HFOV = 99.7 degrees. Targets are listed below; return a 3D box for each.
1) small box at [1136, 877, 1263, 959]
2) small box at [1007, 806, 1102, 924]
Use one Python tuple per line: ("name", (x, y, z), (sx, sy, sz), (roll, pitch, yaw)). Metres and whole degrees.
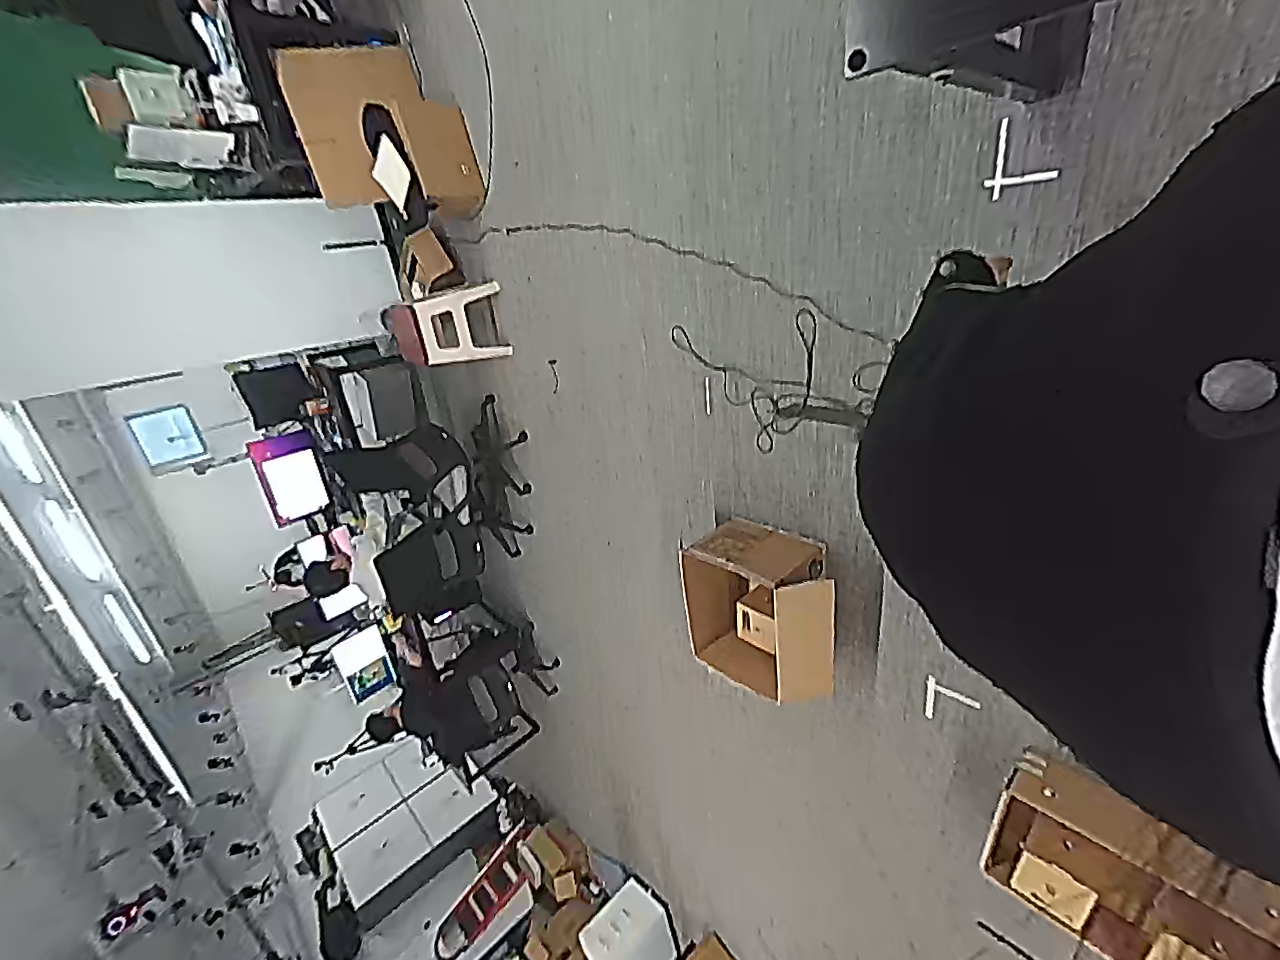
("small box", (1.373, 1.140, 1.326), (0.179, 0.176, 0.168), (22, 125, 44))
("small box", (1.175, 1.079, 1.530), (0.168, 0.176, 0.179), (22, 125, 41))
